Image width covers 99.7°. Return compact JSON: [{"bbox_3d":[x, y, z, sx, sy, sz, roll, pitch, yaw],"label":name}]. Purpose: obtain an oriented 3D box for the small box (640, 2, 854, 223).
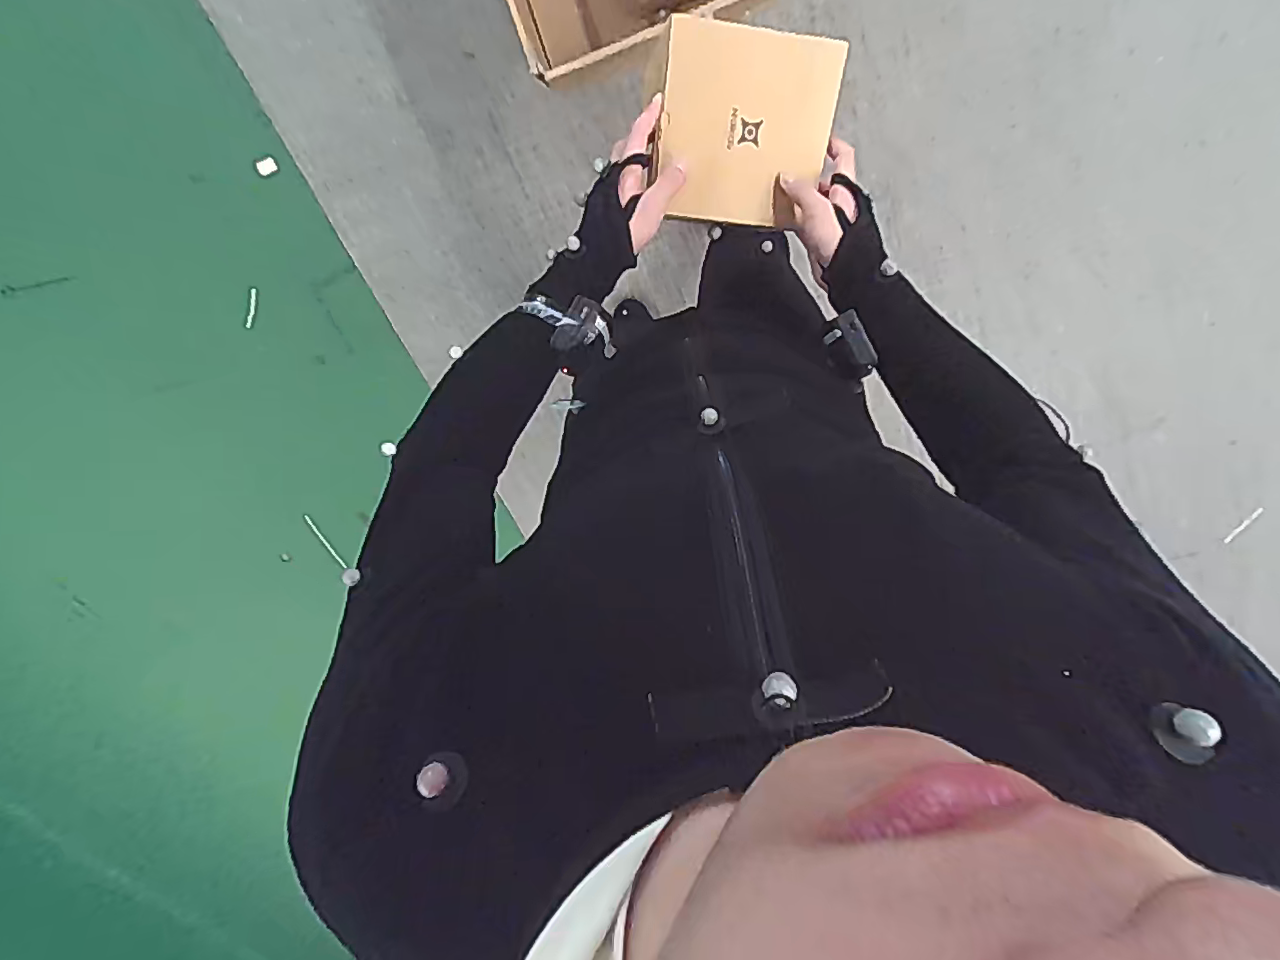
[{"bbox_3d":[0.100,-0.385,0.597,0.179,0.176,0.168,3,116,-6],"label":"small box"}]
